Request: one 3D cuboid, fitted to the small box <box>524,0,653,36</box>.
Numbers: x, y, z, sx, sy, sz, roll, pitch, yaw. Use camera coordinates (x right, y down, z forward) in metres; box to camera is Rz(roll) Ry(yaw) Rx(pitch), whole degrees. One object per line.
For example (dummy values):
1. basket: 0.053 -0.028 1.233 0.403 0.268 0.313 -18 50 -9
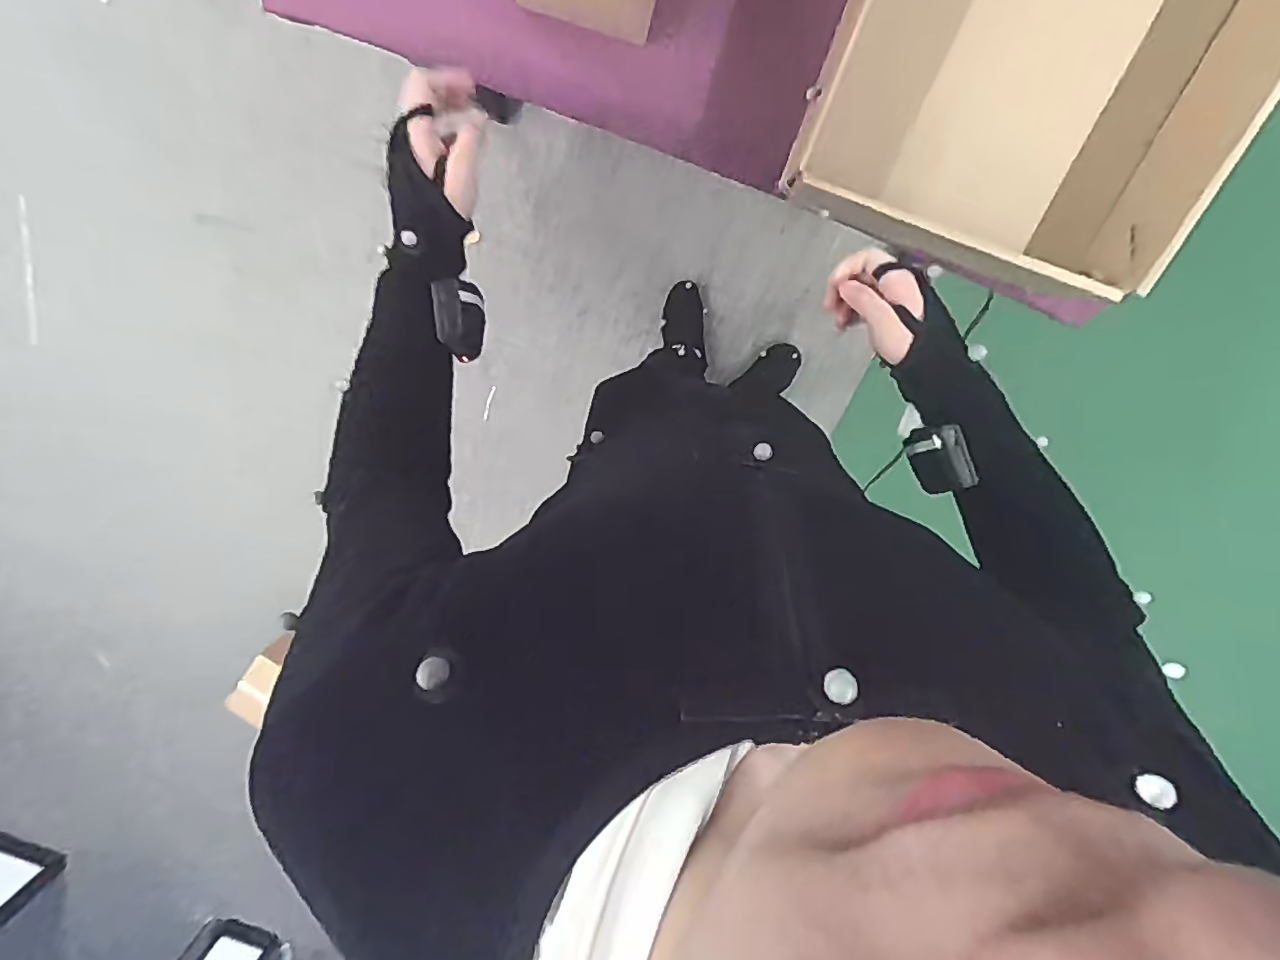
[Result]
1. small box: -0.065 -0.642 0.601 0.179 0.176 0.168 18 110 -1
